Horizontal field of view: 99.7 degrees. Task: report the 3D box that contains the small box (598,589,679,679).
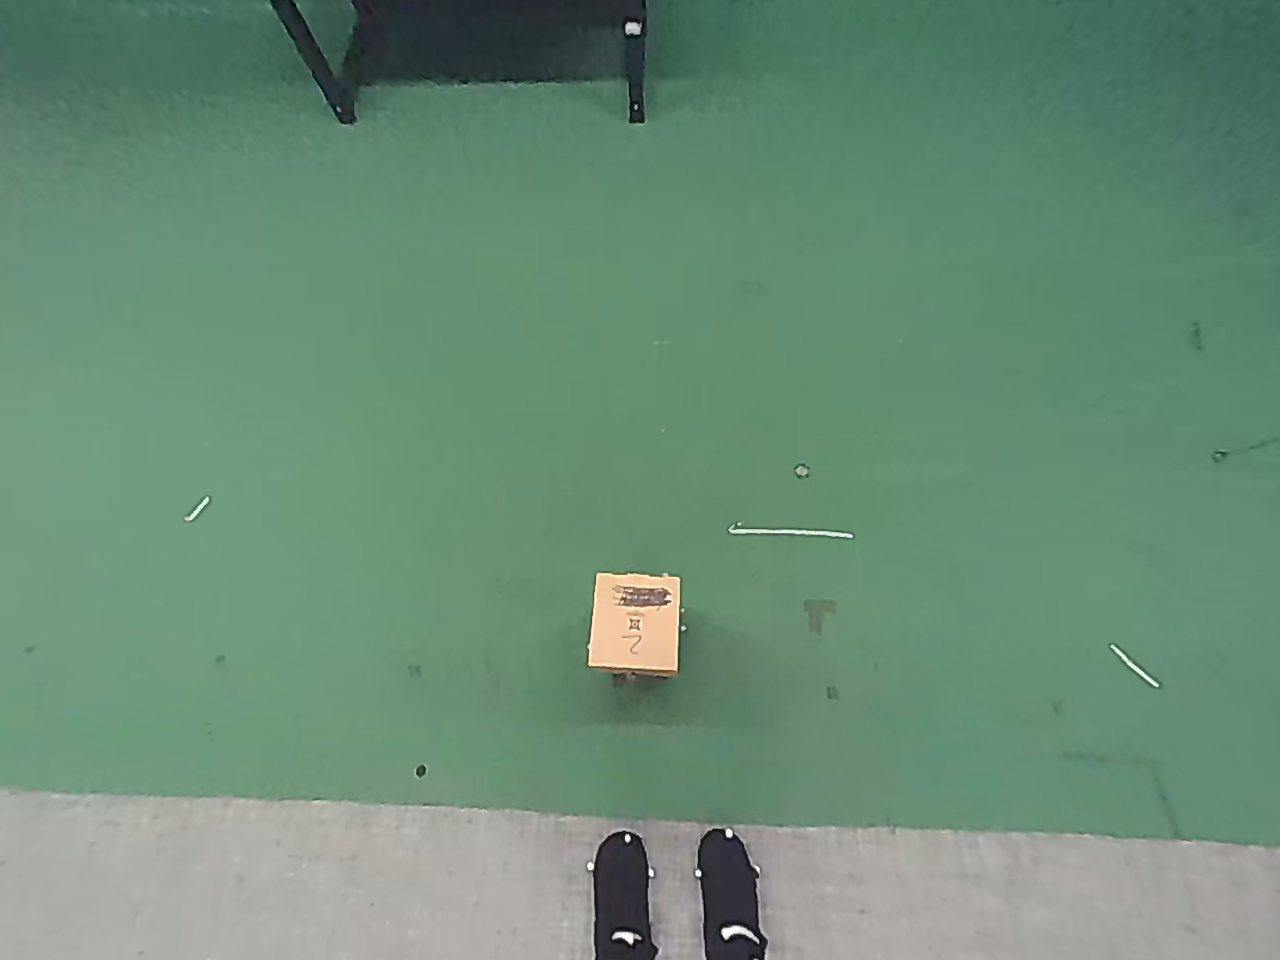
[{"bbox_3d":[0.004,0.355,1.234,0.168,0.176,0.179,2,67,4],"label":"small box"}]
